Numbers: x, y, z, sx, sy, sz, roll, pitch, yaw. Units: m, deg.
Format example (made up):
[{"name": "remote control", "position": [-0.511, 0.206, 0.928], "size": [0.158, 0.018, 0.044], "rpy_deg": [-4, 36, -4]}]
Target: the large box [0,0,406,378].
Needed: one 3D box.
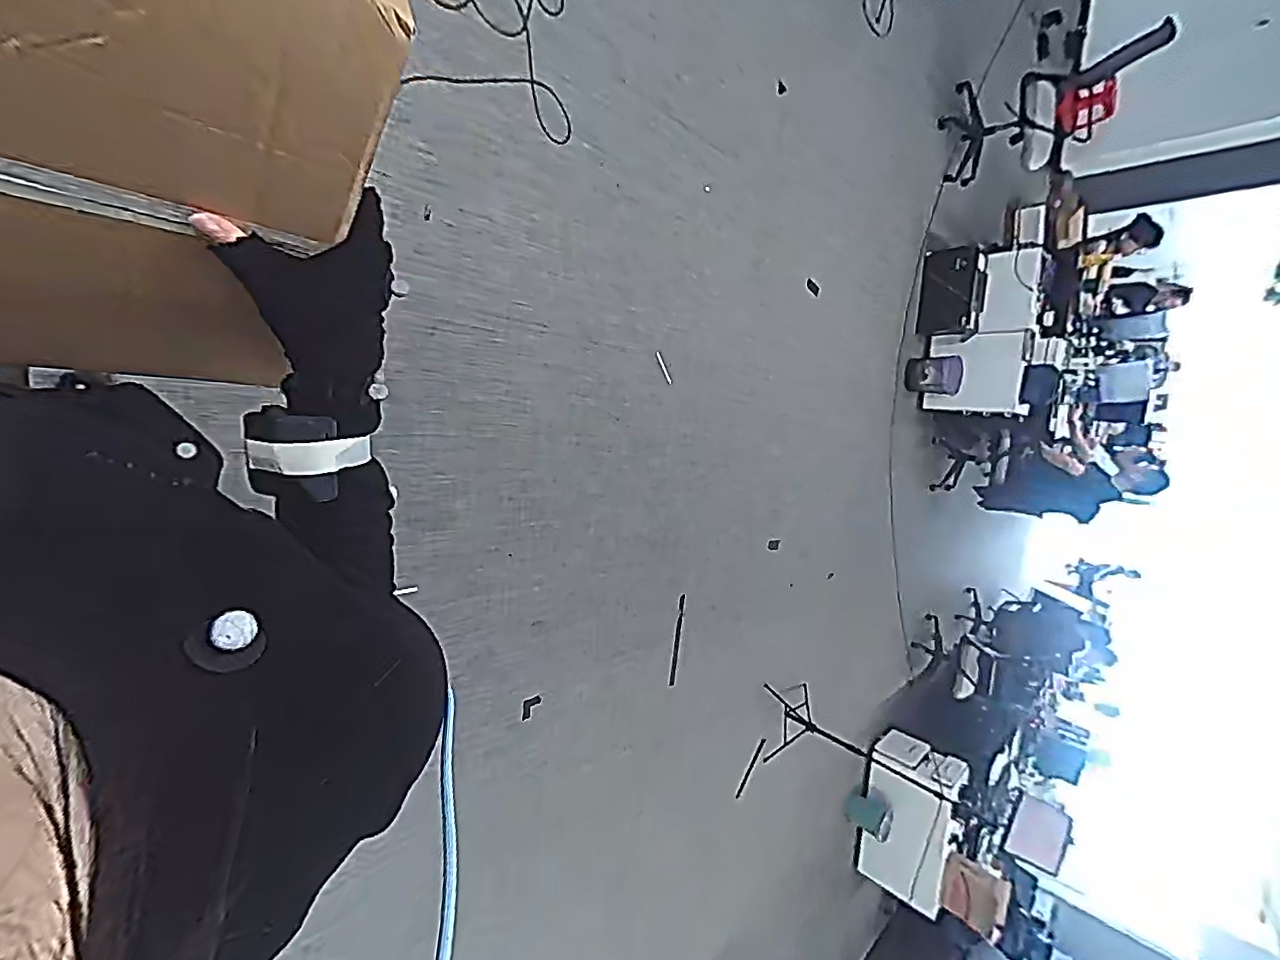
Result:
[{"name": "large box", "position": [-0.396, -0.281, 0.269], "size": [0.408, 0.320, 0.320], "rpy_deg": [-2, 66, -44]}]
